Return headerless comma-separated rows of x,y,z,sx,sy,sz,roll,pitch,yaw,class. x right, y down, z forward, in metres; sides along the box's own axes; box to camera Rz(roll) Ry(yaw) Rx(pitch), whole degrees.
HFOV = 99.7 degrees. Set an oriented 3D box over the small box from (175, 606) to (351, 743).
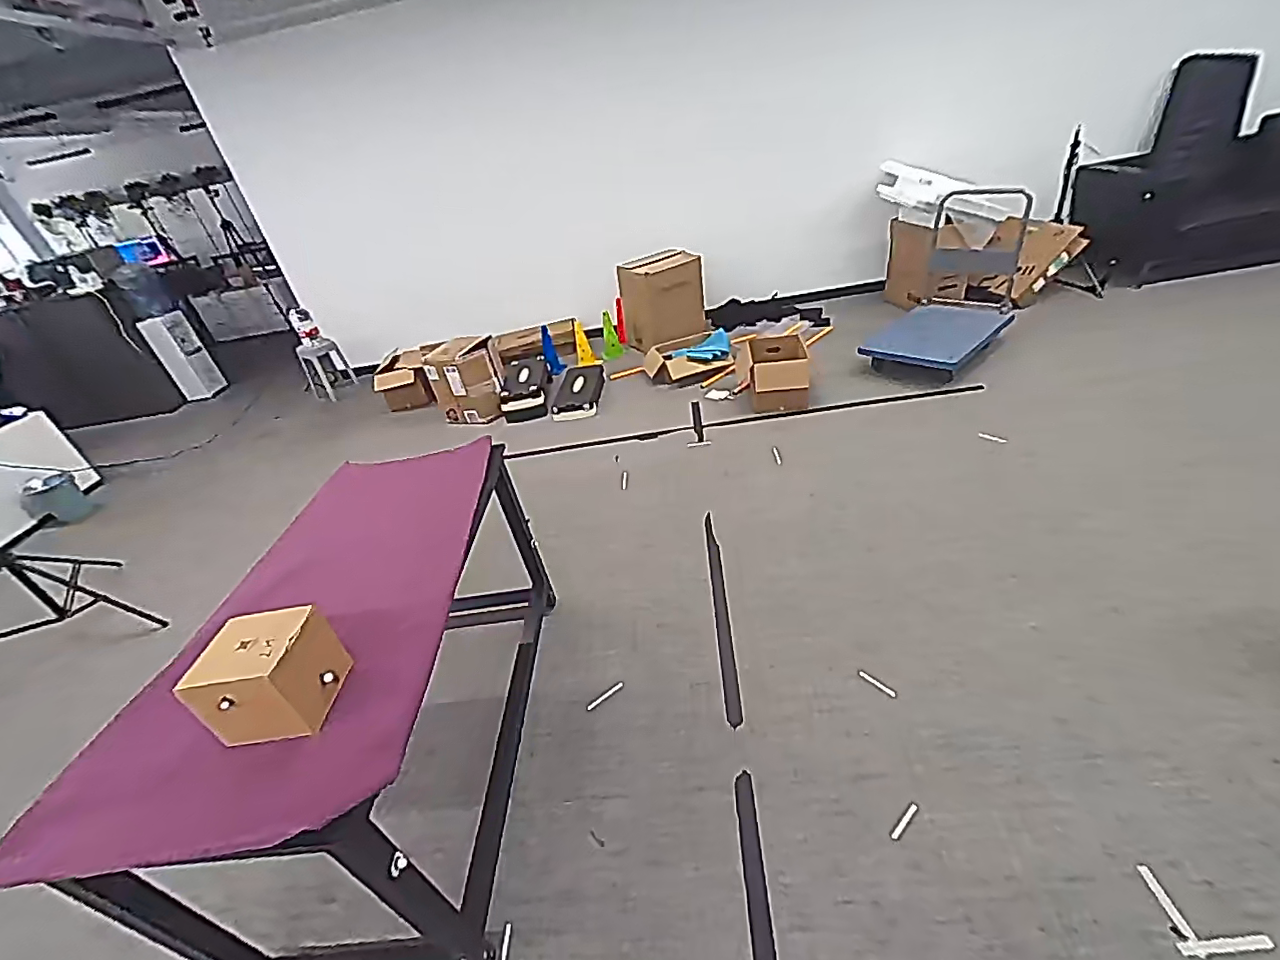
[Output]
-0.683,0.363,1.006,0.179,0.176,0.168,-9,32,3,small box
